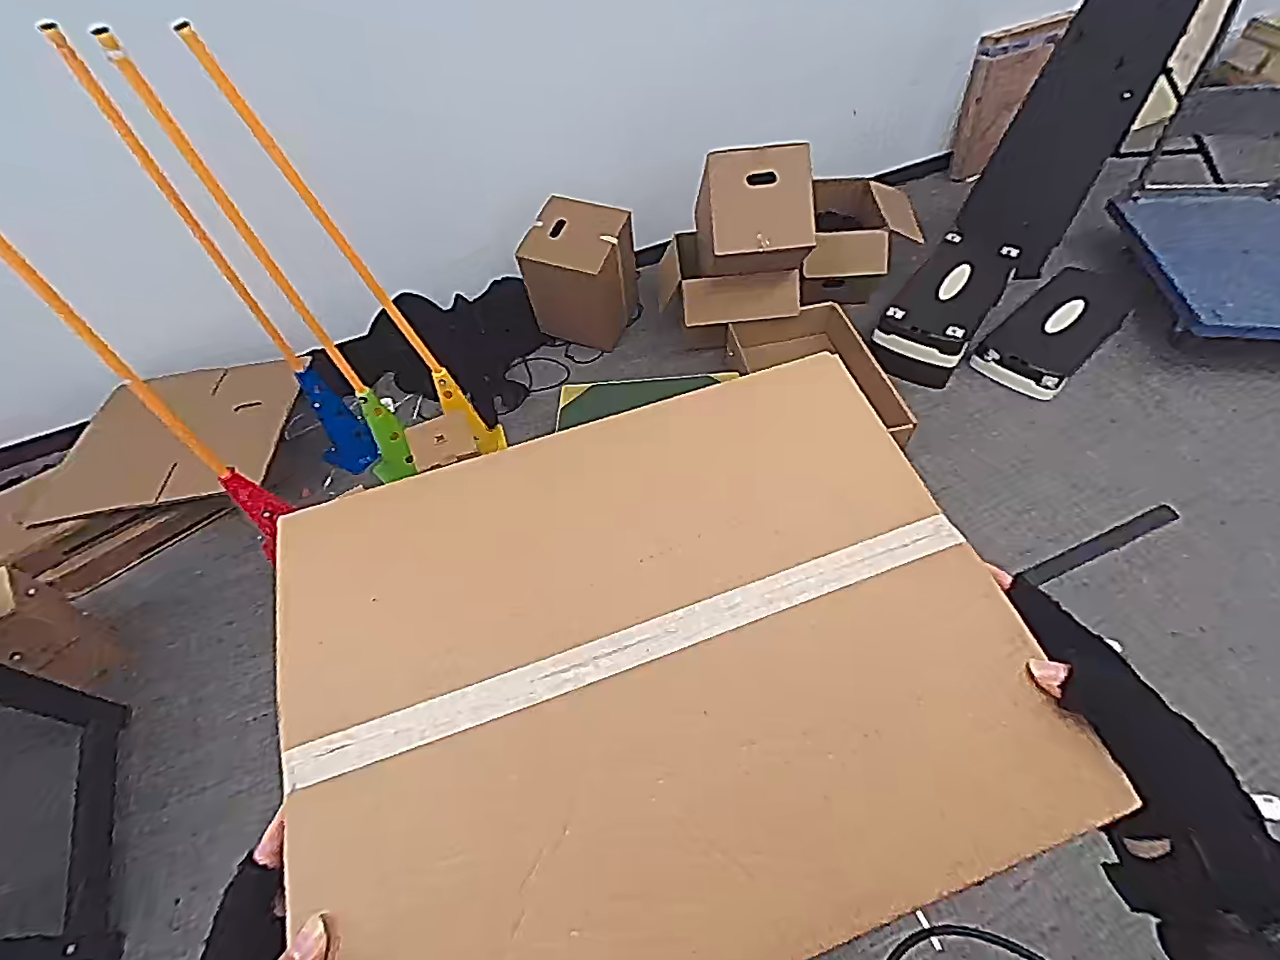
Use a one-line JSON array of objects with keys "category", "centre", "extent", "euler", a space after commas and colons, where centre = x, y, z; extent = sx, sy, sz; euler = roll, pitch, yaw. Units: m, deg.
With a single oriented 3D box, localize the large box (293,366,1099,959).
[{"category": "large box", "centre": [0.012, 0.168, 0.451], "extent": [0.408, 0.320, 0.320], "euler": [-18, 63, -7]}]
